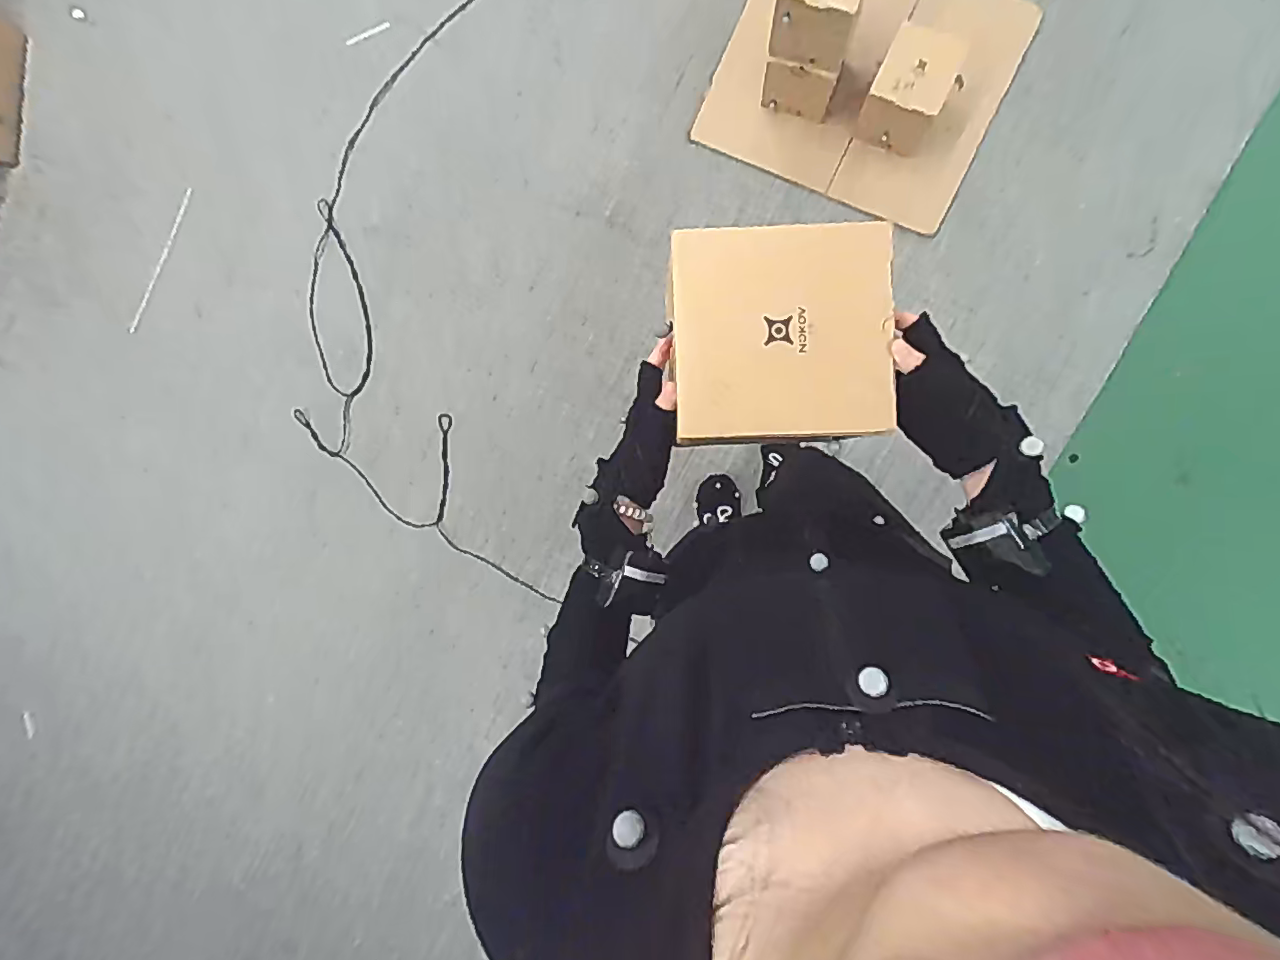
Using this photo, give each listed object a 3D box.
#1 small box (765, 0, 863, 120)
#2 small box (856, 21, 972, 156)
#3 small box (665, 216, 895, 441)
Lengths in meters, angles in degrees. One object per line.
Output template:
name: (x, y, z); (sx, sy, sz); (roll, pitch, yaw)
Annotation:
small box: (0.414, -1.028, 1.319); (0.168, 0.176, 0.179); (22, 94, 6)
small box: (0.643, -0.929, 1.297); (0.168, 0.176, 0.179); (26, 95, 7)
small box: (0.112, -0.123, 0.501); (0.179, 0.176, 0.168); (-2, 92, 0)
